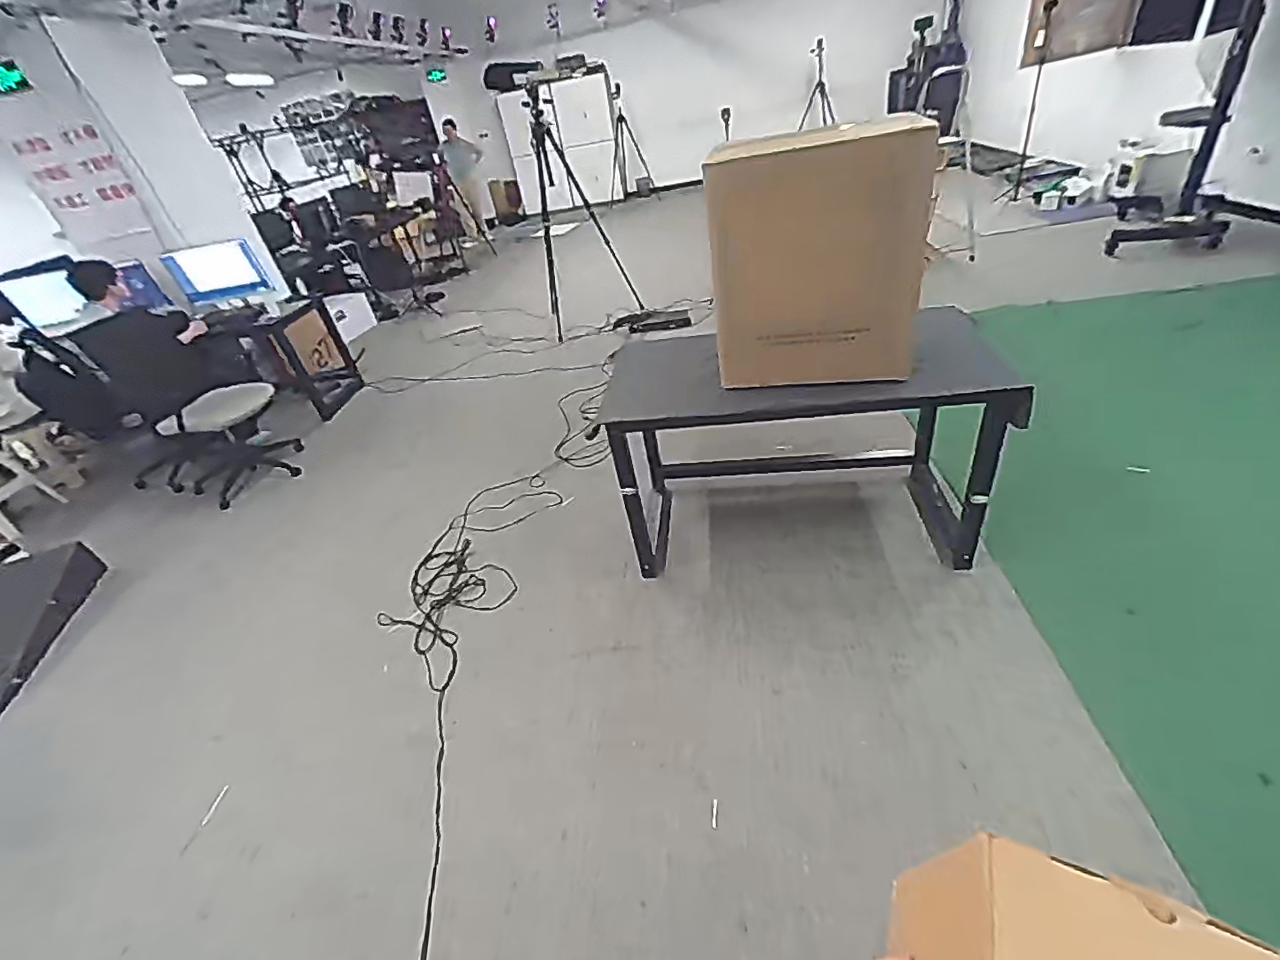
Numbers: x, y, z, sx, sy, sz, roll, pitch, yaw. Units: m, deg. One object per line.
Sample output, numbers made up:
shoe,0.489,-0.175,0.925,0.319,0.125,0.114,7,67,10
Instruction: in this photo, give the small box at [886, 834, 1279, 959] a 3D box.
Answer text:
small box,0.237,0.340,0.292,0.168,0.176,0.179,16,47,17
